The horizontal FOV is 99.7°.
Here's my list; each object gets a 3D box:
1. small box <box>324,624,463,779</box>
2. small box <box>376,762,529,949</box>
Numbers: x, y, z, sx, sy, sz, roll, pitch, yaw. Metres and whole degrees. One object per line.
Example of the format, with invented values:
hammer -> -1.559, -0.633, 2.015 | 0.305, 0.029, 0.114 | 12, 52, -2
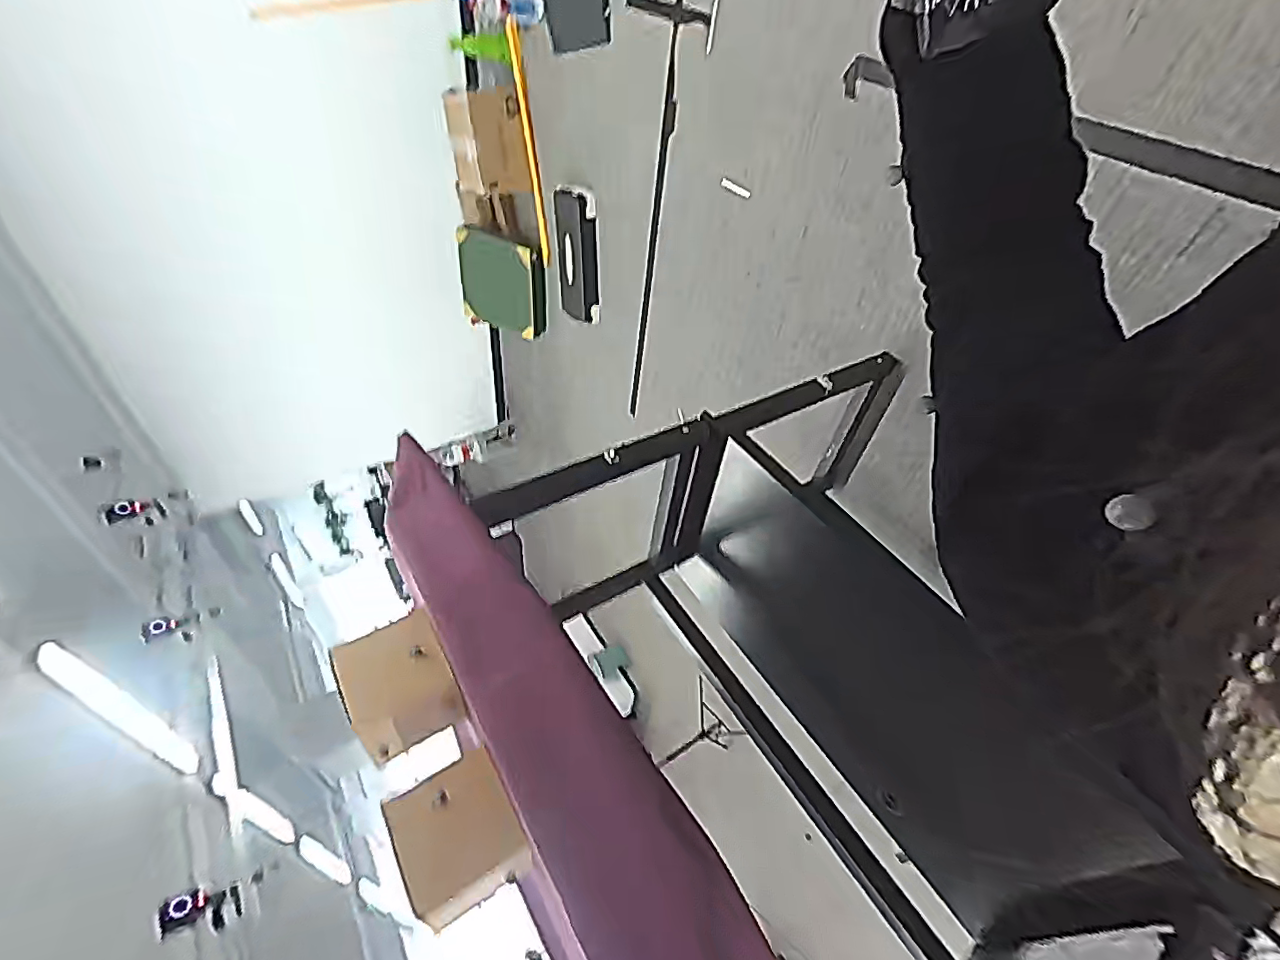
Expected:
small box -> -0.431, 0.382, 0.961 | 0.179, 0.176, 0.168 | 48, 147, 34
small box -> -0.285, 0.573, 0.843 | 0.179, 0.176, 0.168 | 49, 147, 32
